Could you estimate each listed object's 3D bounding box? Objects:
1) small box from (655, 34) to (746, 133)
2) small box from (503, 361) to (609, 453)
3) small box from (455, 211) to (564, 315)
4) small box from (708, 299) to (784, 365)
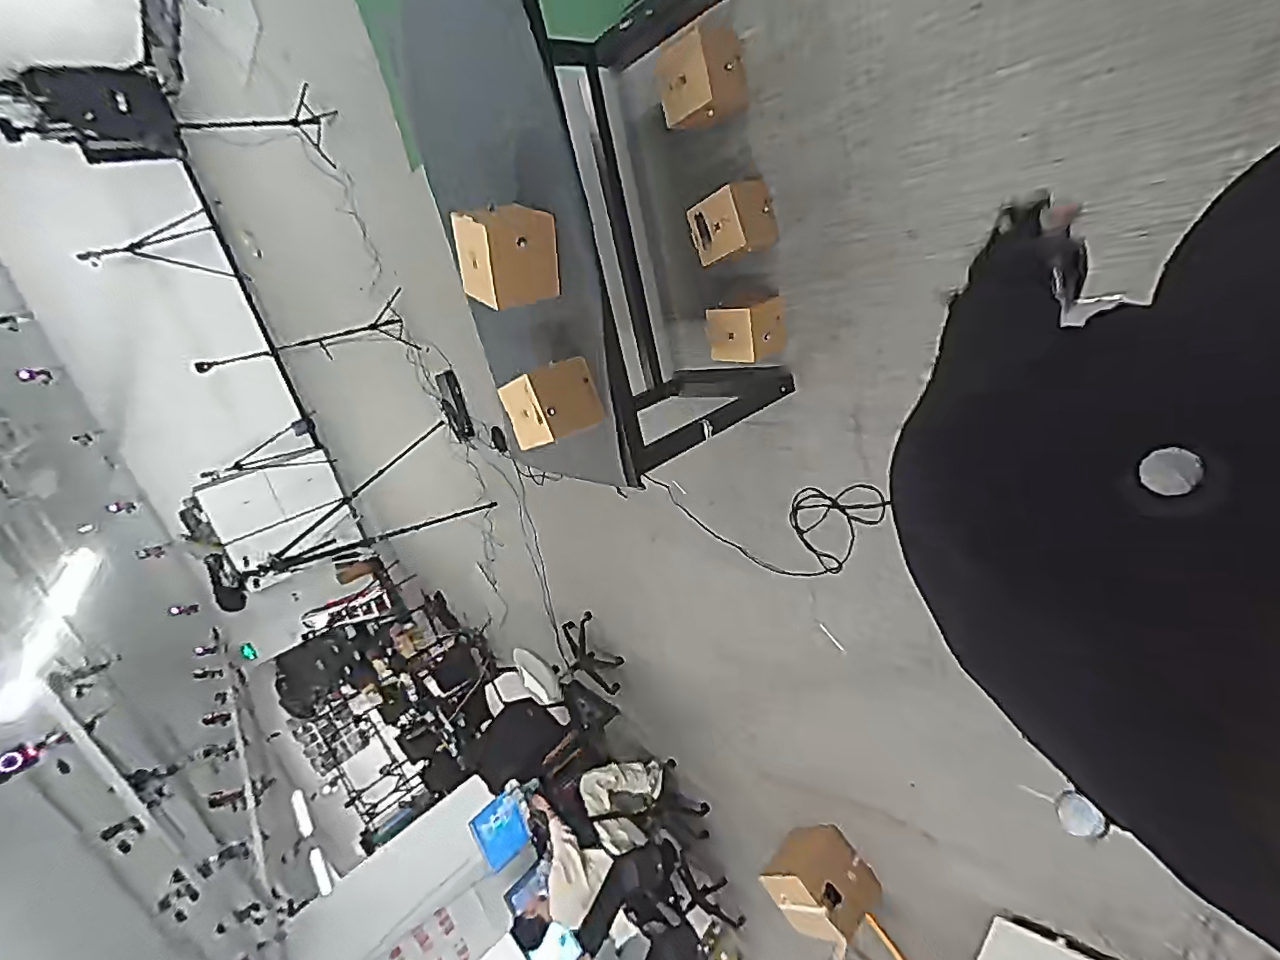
[{"bbox_3d":[0.174,-1.091,1.495,0.179,0.176,0.168,4,116,51],"label":"small box"},{"bbox_3d":[-0.207,-0.180,1.339,0.179,0.176,0.168,-8,107,53],"label":"small box"},{"bbox_3d":[-0.289,-0.497,1.223,0.168,0.176,0.179,35,139,38],"label":"small box"},{"bbox_3d":[0.345,-0.473,1.722,0.179,0.176,0.168,16,126,46],"label":"small box"}]
